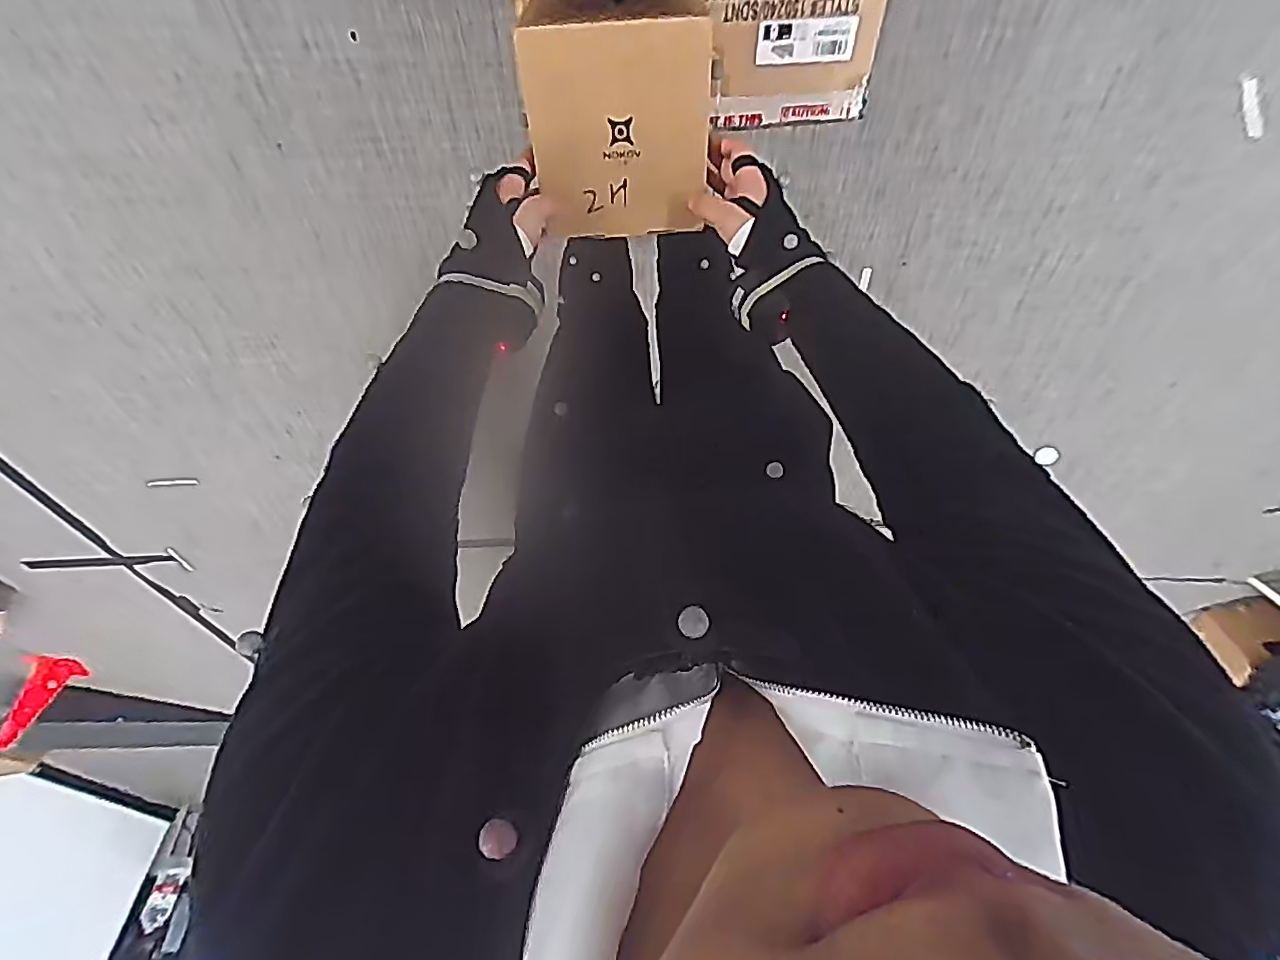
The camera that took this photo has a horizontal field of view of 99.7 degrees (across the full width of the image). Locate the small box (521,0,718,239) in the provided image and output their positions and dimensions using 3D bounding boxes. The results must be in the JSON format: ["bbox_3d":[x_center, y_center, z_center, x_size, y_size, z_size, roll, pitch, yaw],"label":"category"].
[{"bbox_3d":[-0.018,-0.373,0.554,0.168,0.176,0.179,-3,139,1],"label":"small box"}]
